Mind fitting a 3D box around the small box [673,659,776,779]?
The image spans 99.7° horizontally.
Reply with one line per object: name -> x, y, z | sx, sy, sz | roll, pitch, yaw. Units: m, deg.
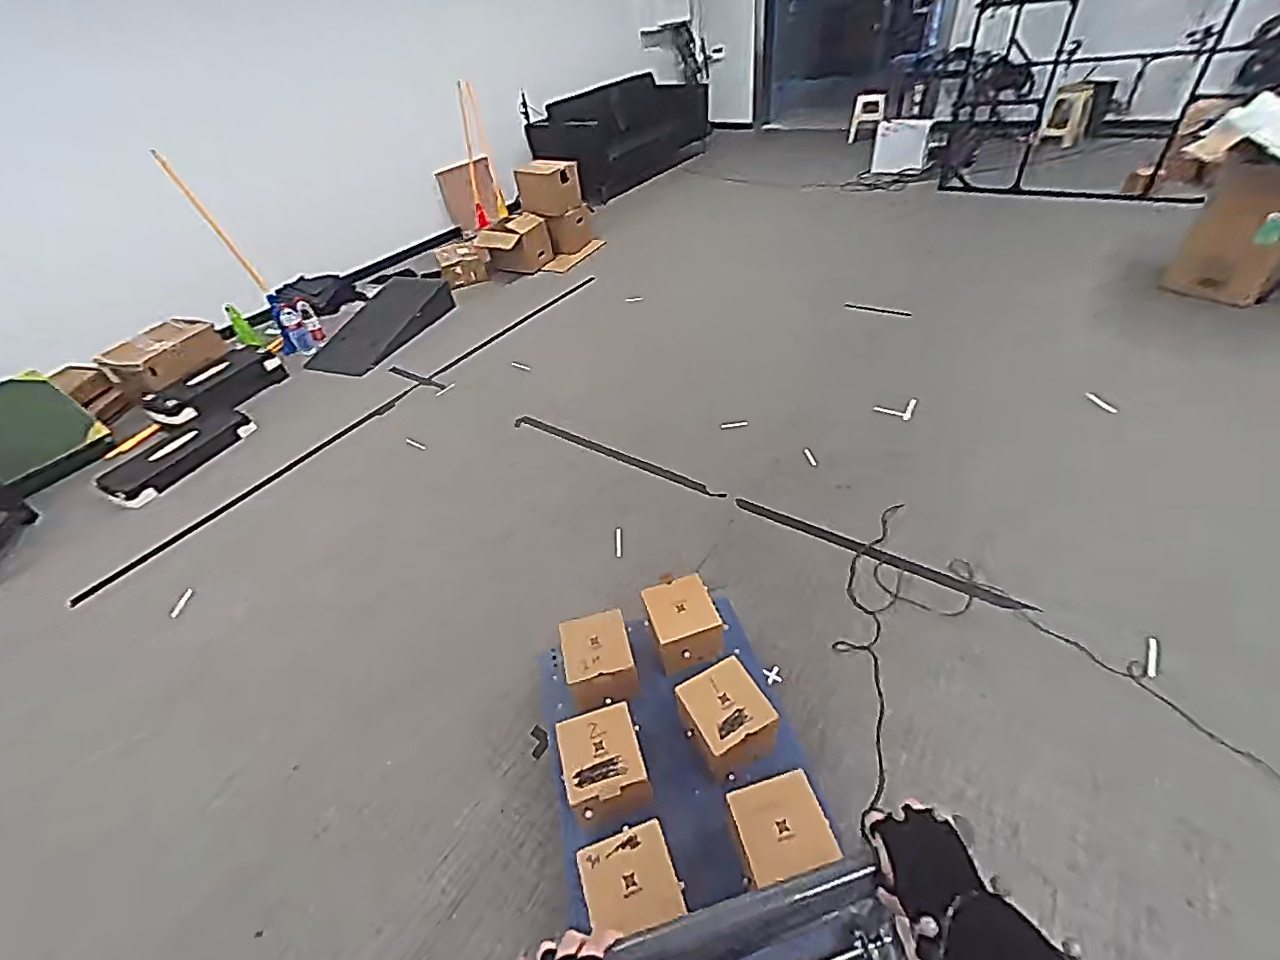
small box -> 0.194, 0.560, 1.253 | 0.168, 0.176, 0.179 | -23, 43, -16

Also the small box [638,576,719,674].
small box -> 0.106, 0.395, 1.451 | 0.168, 0.176, 0.179 | -17, 42, -10

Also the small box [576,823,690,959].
small box -> -0.010, 0.794, 1.021 | 0.168, 0.176, 0.179 | -16, 43, -11

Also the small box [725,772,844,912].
small box -> 0.275, 0.718, 1.065 | 0.168, 0.176, 0.179 | -14, 41, -7

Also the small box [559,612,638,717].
small box -> -0.107, 0.475, 1.392 | 0.168, 0.176, 0.179 | -13, 43, -6
